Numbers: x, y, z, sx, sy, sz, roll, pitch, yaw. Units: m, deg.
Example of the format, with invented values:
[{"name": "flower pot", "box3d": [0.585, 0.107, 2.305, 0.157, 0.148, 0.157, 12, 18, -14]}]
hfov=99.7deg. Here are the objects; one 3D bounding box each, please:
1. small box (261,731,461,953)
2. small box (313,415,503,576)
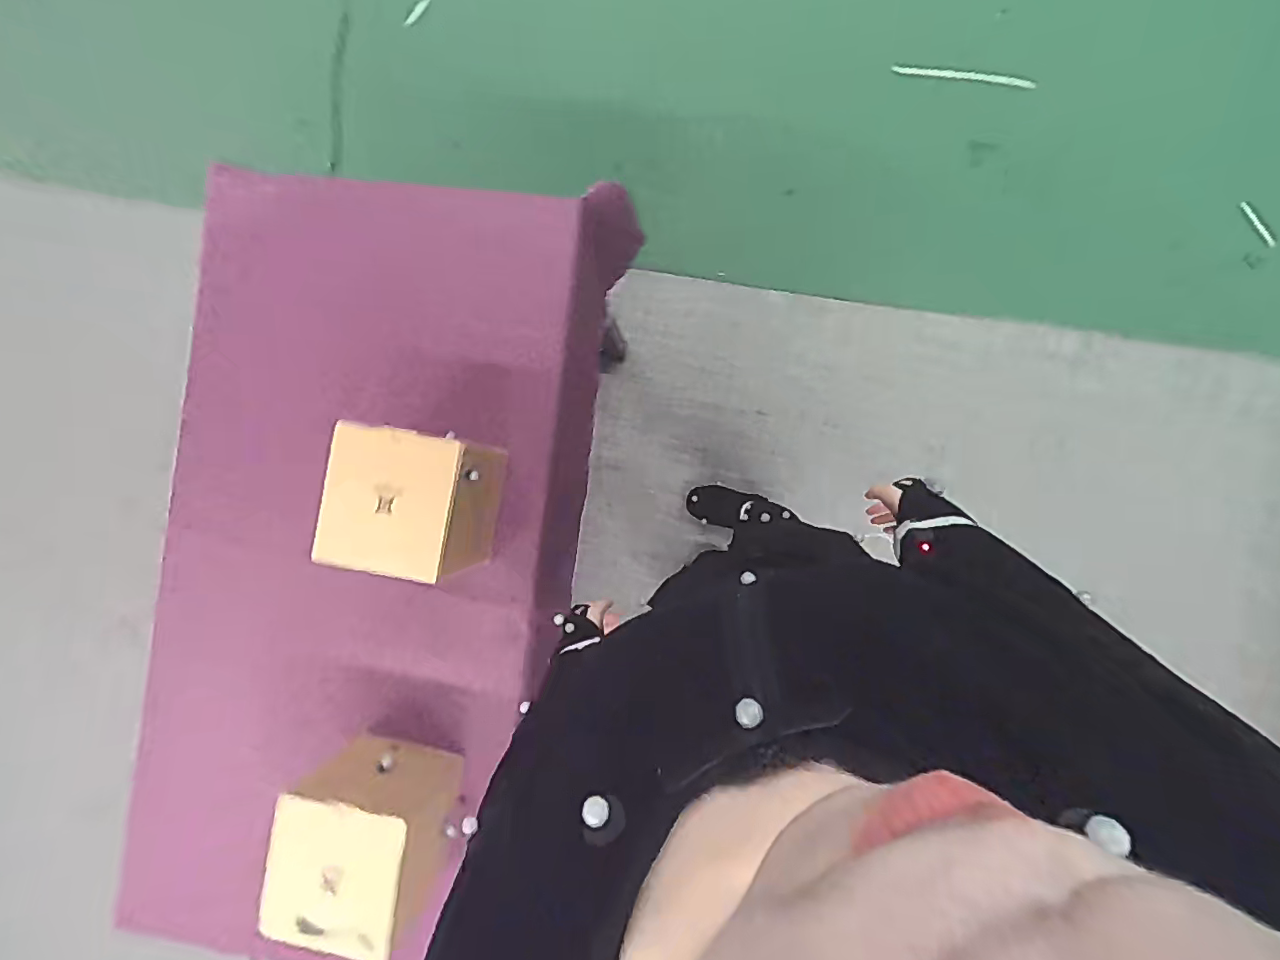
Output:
[{"name": "small box", "box3d": [-0.360, 0.468, 0.732, 0.168, 0.176, 0.179, 9, 89, 6]}, {"name": "small box", "box3d": [-0.302, 0.019, 0.738, 0.168, 0.176, 0.179, 9, 89, 6]}]
